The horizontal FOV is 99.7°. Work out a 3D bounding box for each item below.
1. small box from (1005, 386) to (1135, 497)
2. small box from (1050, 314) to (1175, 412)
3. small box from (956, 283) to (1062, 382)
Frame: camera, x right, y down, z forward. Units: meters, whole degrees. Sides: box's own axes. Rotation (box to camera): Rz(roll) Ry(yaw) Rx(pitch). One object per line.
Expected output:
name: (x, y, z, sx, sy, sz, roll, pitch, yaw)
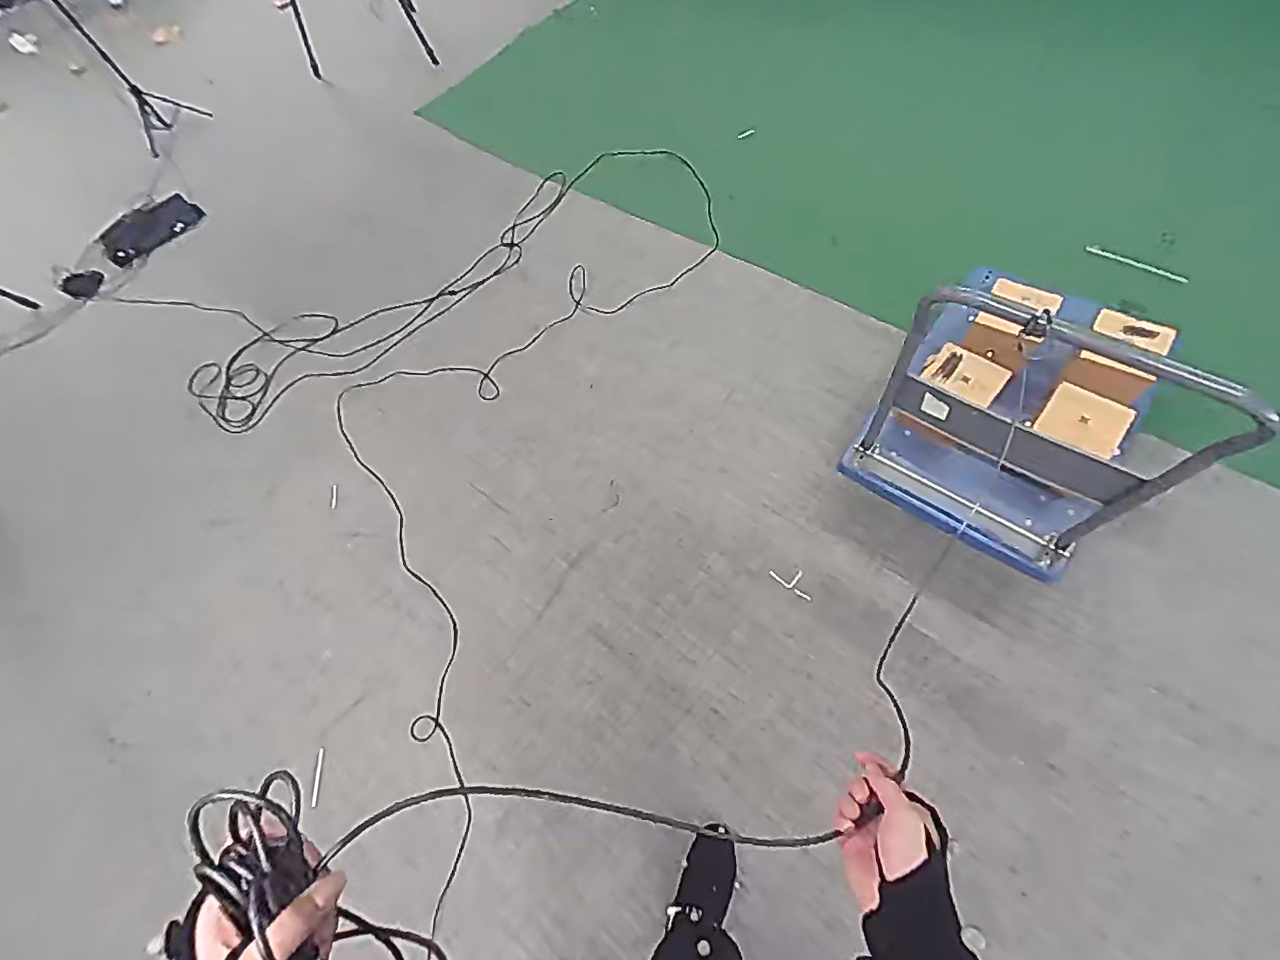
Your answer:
small box: (1.045, -0.090, 1.332, 0.168, 0.176, 0.179, 35, 74, 23)
small box: (1.214, -0.289, 1.403, 0.168, 0.176, 0.179, 30, 73, 23)
small box: (1.010, -0.403, 1.498, 0.168, 0.176, 0.179, 30, 72, 22)
